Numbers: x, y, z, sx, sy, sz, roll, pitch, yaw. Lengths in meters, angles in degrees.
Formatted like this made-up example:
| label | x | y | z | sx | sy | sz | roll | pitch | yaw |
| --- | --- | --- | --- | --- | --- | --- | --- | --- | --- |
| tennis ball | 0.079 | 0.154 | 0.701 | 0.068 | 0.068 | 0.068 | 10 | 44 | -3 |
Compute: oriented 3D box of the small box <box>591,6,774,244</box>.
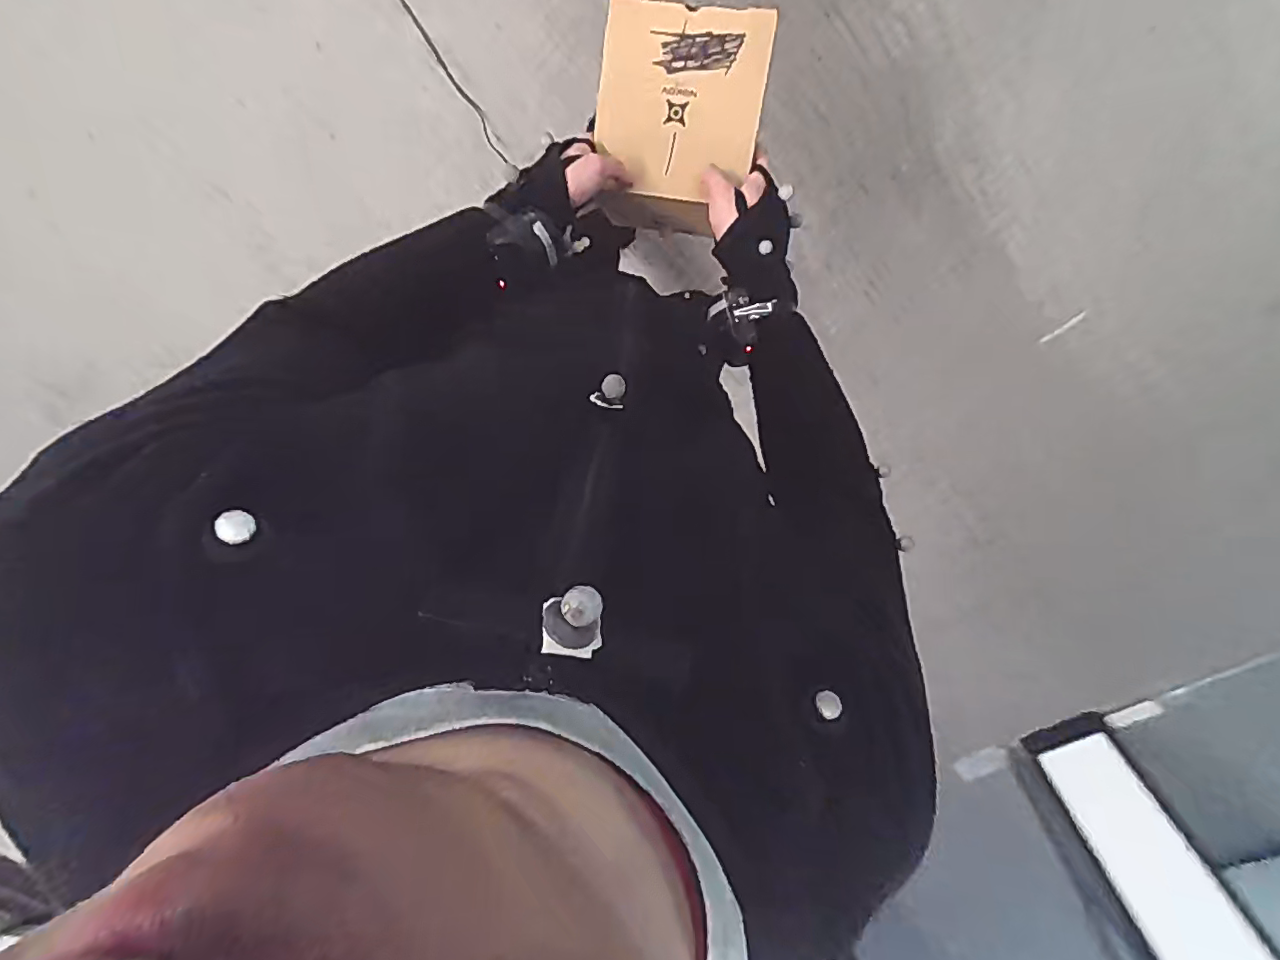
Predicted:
| label | x | y | z | sx | sy | sz | roll | pitch | yaw |
| --- | --- | --- | --- | --- | --- | --- | --- | --- | --- |
| small box | 0.047 | -0.390 | 0.625 | 0.168 | 0.176 | 0.179 | 9 | 104 | 5 |
